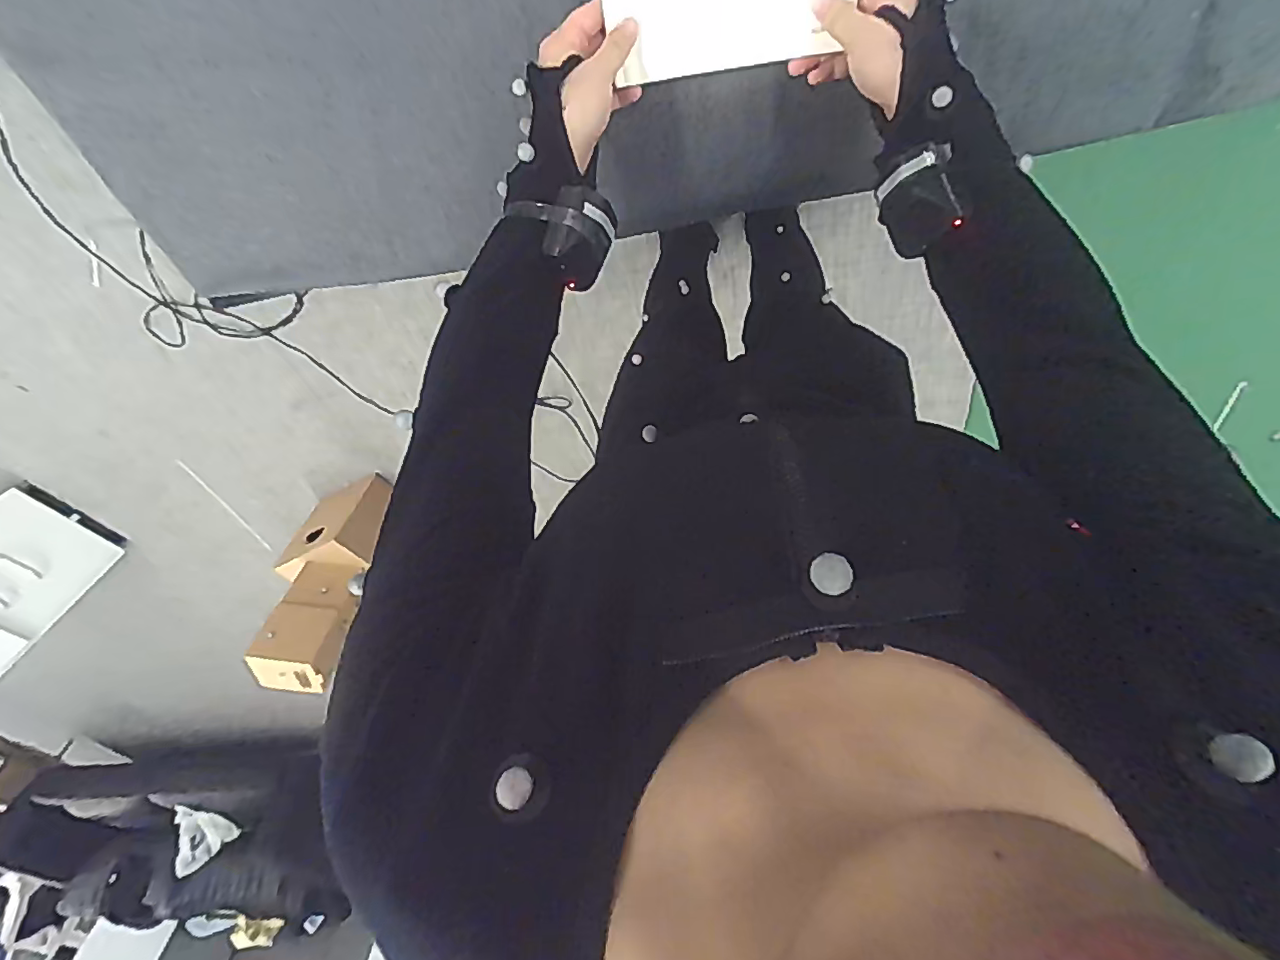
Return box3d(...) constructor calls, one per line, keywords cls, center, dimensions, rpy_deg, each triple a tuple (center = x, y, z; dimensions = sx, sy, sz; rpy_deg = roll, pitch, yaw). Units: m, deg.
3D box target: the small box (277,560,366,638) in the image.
box3d(cls="small box", center=(-0.962, 0.363, 1.659), dimensions=(0.179, 0.176, 0.168), rpy_deg=(8, 132, -5))
